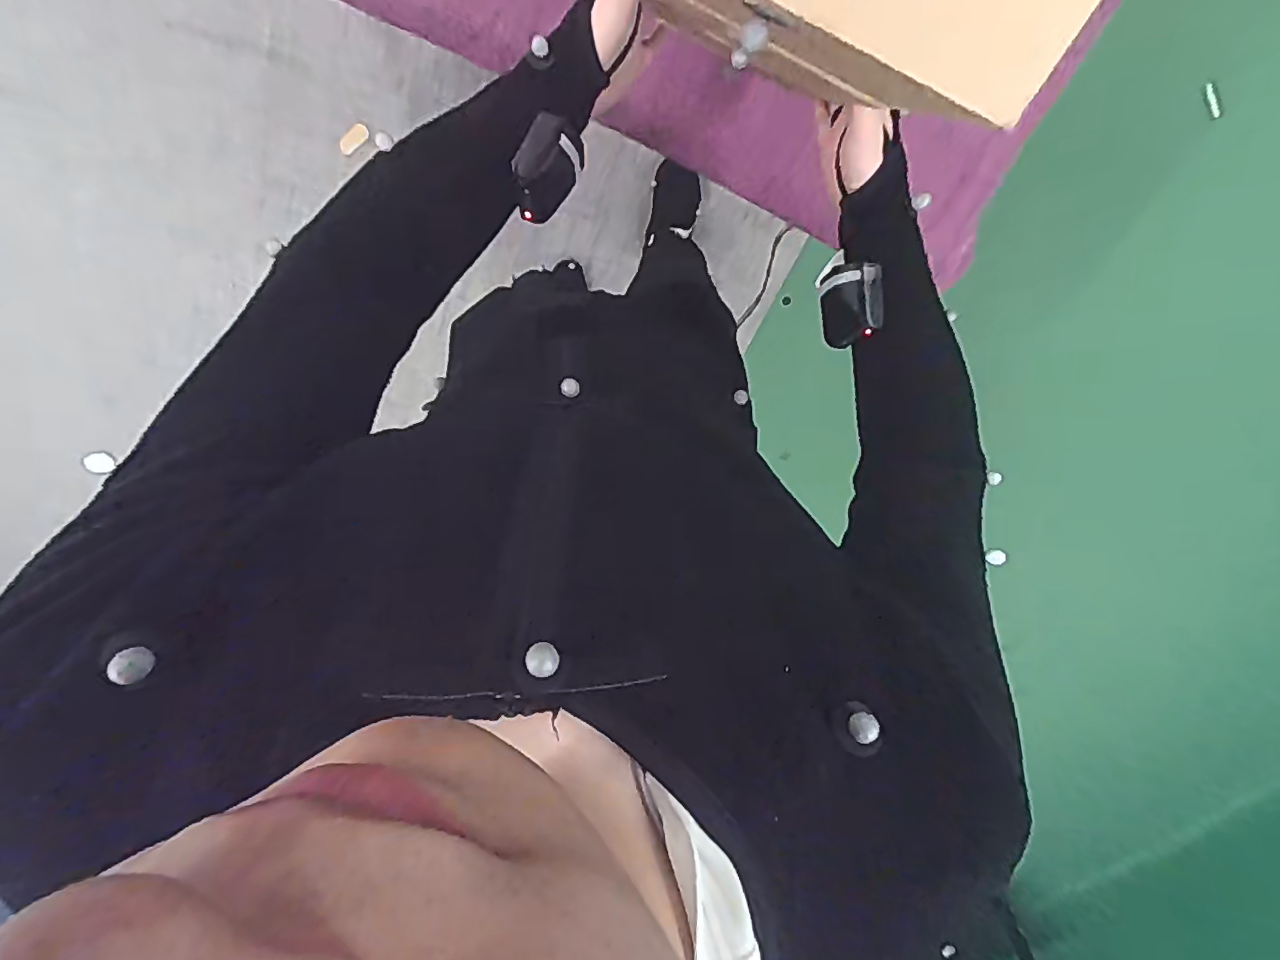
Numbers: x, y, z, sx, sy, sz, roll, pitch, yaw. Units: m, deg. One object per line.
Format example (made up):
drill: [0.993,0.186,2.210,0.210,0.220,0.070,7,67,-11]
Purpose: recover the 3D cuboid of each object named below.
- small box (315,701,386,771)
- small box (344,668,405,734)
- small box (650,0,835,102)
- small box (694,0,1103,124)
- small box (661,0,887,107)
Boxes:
small box: [-1.121,0.988,2.101,0.179,0.176,0.168,22,118,-11]
small box: [-1.109,0.909,2.241,0.179,0.176,0.168,23,119,-11]
small box: [0.123,-0.464,0.471,0.179,0.176,0.168,20,126,-10]
small box: [0.100,-0.269,0.209,0.179,0.176,0.168,21,127,-10]
small box: [0.111,-0.367,0.340,0.179,0.176,0.168,22,127,-10]
